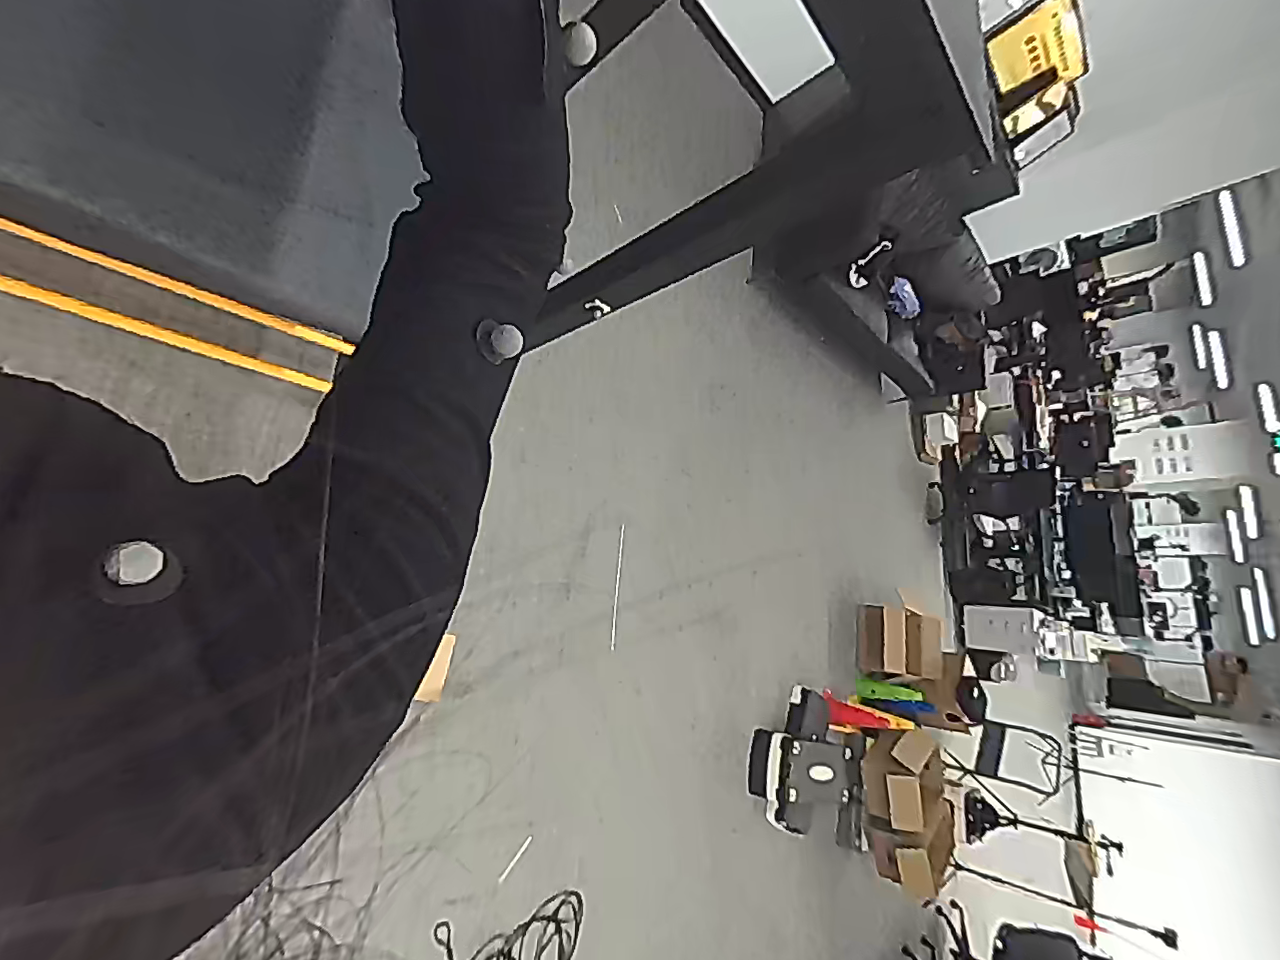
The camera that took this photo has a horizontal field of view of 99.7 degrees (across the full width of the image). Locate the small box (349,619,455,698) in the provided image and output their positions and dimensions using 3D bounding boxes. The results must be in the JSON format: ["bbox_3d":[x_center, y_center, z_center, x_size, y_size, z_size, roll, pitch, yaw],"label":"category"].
[{"bbox_3d":[-0.616,0.458,1.400,0.179,0.176,0.168,26,65,-40],"label":"small box"}]
